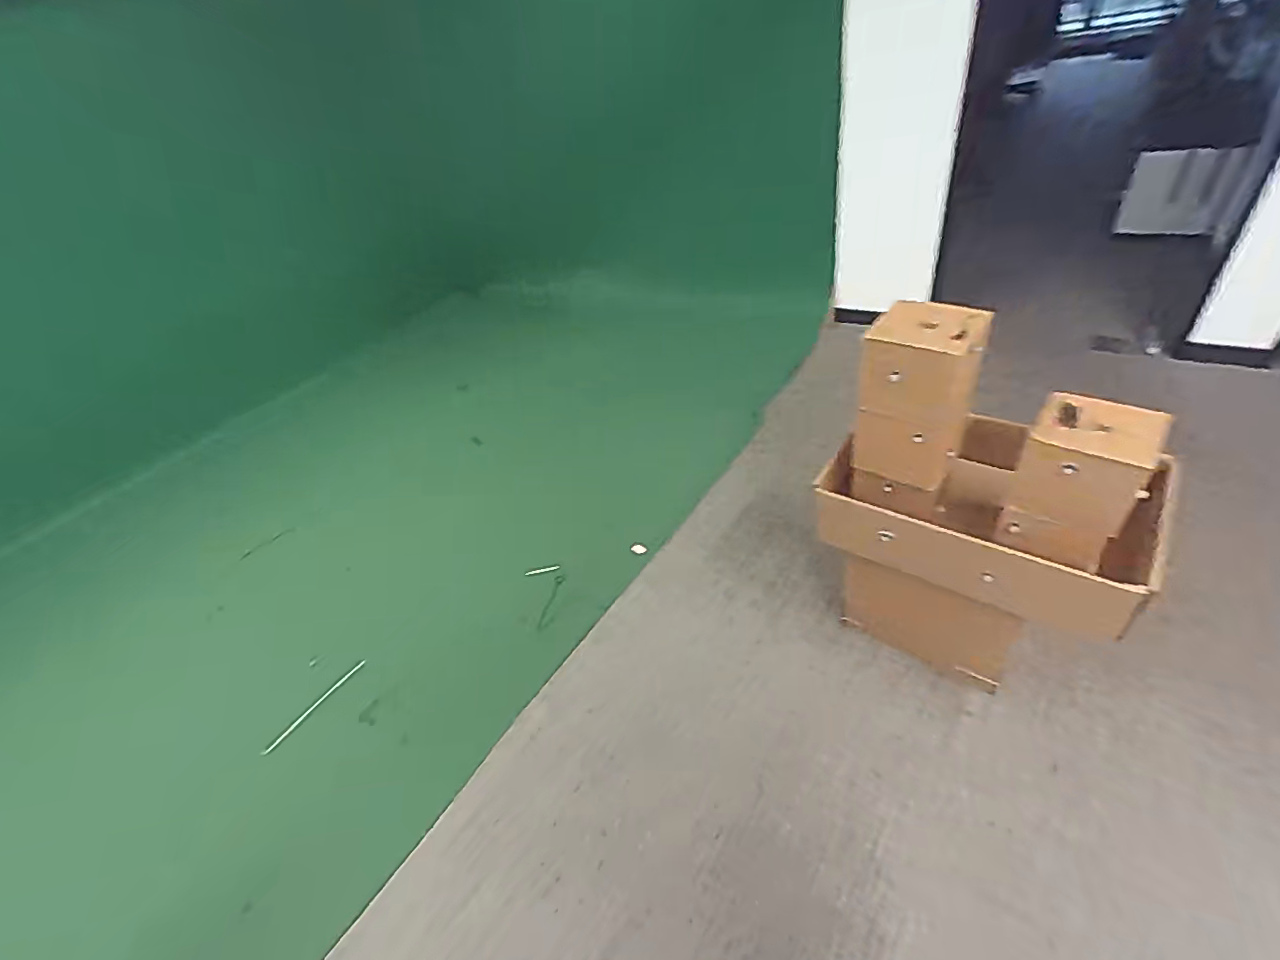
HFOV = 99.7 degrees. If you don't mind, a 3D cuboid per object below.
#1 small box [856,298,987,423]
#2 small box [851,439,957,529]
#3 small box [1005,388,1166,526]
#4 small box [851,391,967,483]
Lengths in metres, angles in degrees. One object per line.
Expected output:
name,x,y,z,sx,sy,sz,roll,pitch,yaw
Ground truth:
small box,0.540,-0.235,1.058,0.179,0.176,0.168,23,55,36
small box,0.618,-0.011,1.284,0.179,0.176,0.168,23,54,34
small box,0.814,-0.042,1.004,0.179,0.176,0.168,24,55,35
small box,0.574,-0.119,1.171,0.179,0.176,0.168,24,55,35
